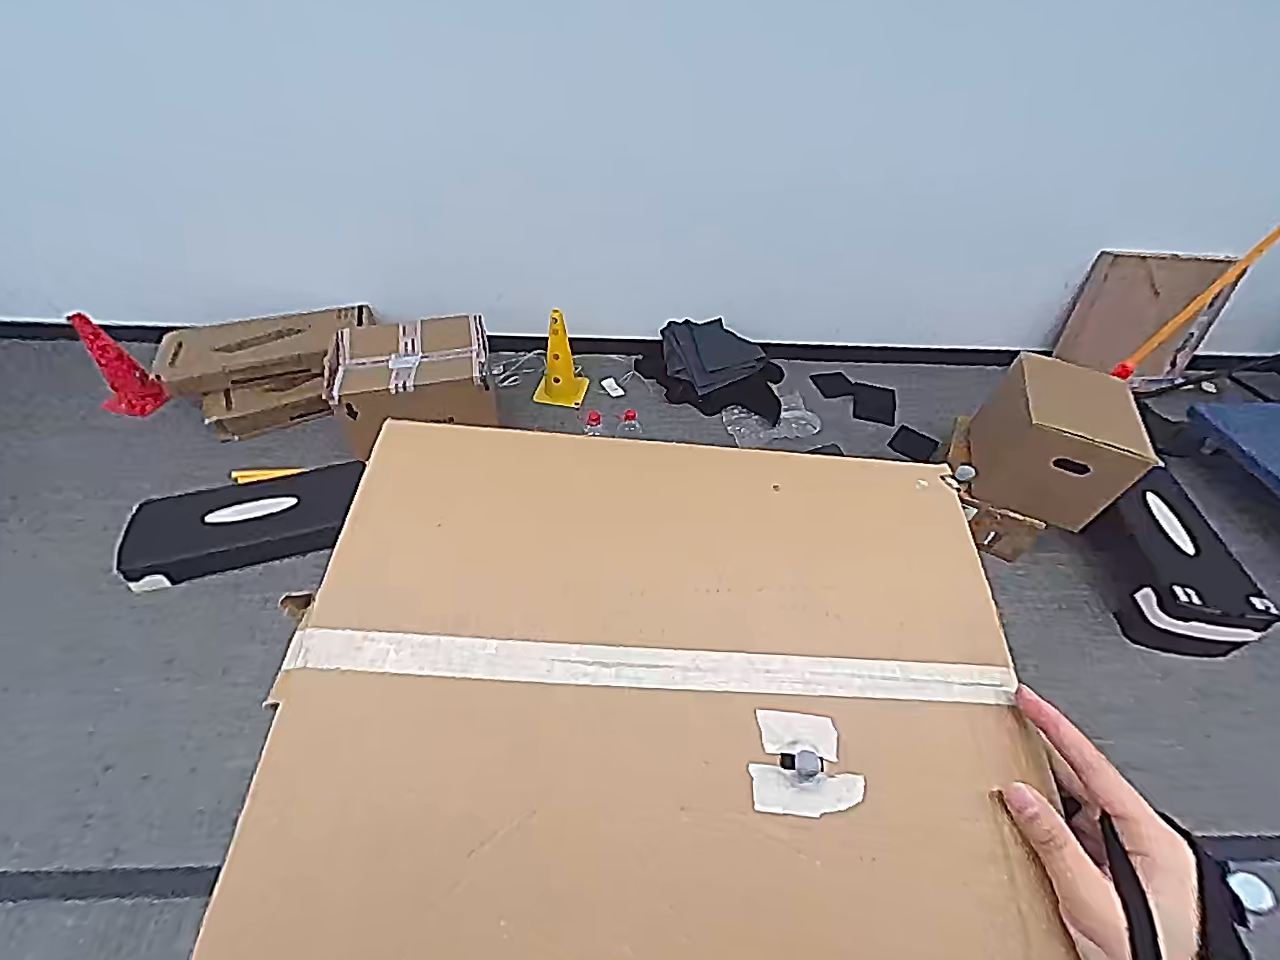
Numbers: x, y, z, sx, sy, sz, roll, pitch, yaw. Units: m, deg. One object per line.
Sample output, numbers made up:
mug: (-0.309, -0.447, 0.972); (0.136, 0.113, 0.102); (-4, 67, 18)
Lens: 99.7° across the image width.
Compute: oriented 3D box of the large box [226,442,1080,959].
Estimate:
large box: (0.004, 0.193, 0.440); (0.408, 0.320, 0.320); (5, 59, -4)
